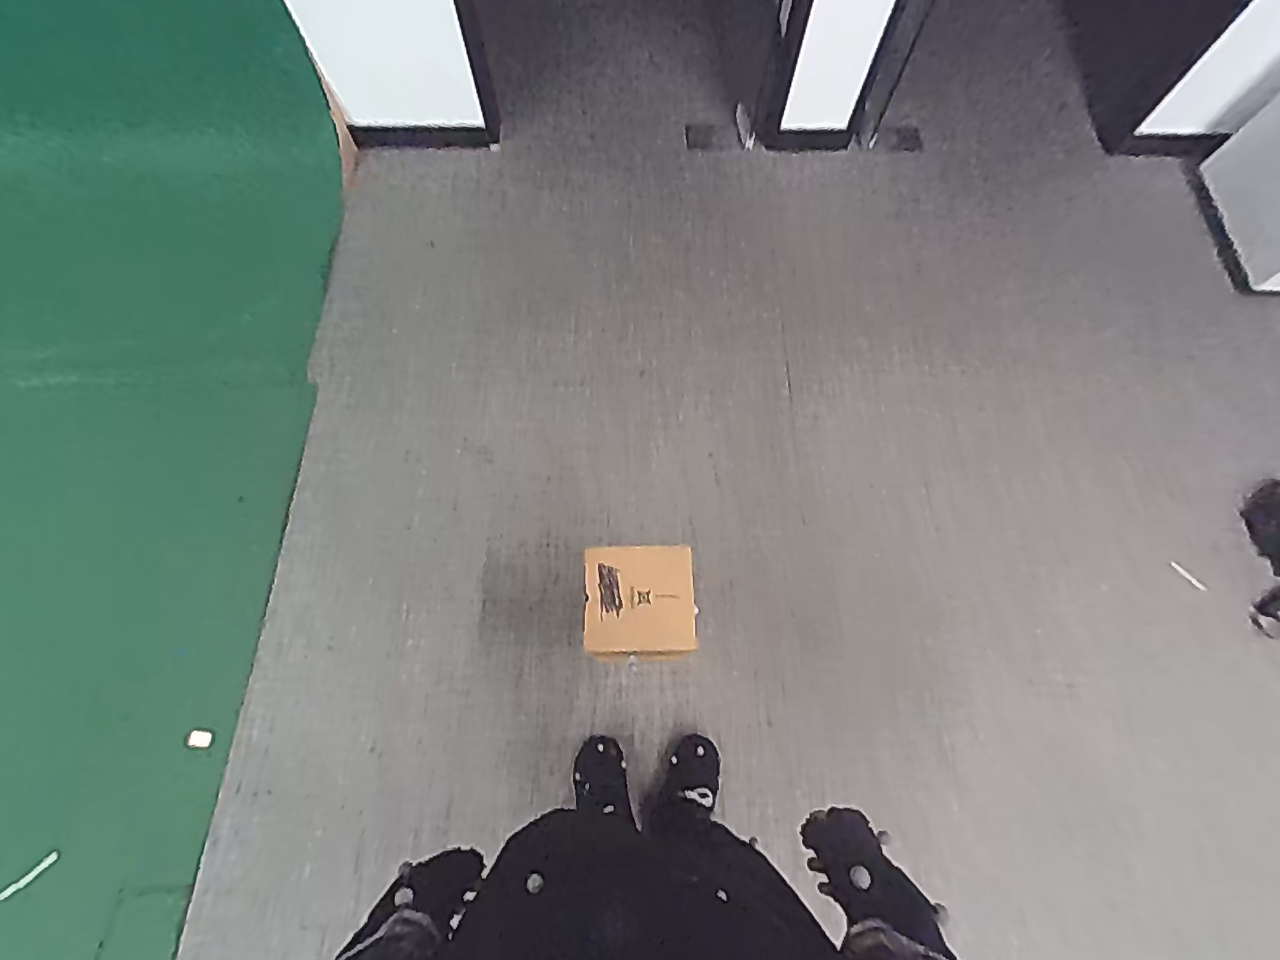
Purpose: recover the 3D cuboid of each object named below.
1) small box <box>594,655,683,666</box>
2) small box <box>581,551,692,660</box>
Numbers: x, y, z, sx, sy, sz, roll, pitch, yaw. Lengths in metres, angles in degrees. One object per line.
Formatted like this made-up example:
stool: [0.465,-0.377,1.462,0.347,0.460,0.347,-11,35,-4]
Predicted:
small box: [-0.004,0.277,1.082,0.168,0.176,0.179,-2,70,0]
small box: [-0.004,0.224,0.943,0.179,0.176,0.168,-1,69,0]
